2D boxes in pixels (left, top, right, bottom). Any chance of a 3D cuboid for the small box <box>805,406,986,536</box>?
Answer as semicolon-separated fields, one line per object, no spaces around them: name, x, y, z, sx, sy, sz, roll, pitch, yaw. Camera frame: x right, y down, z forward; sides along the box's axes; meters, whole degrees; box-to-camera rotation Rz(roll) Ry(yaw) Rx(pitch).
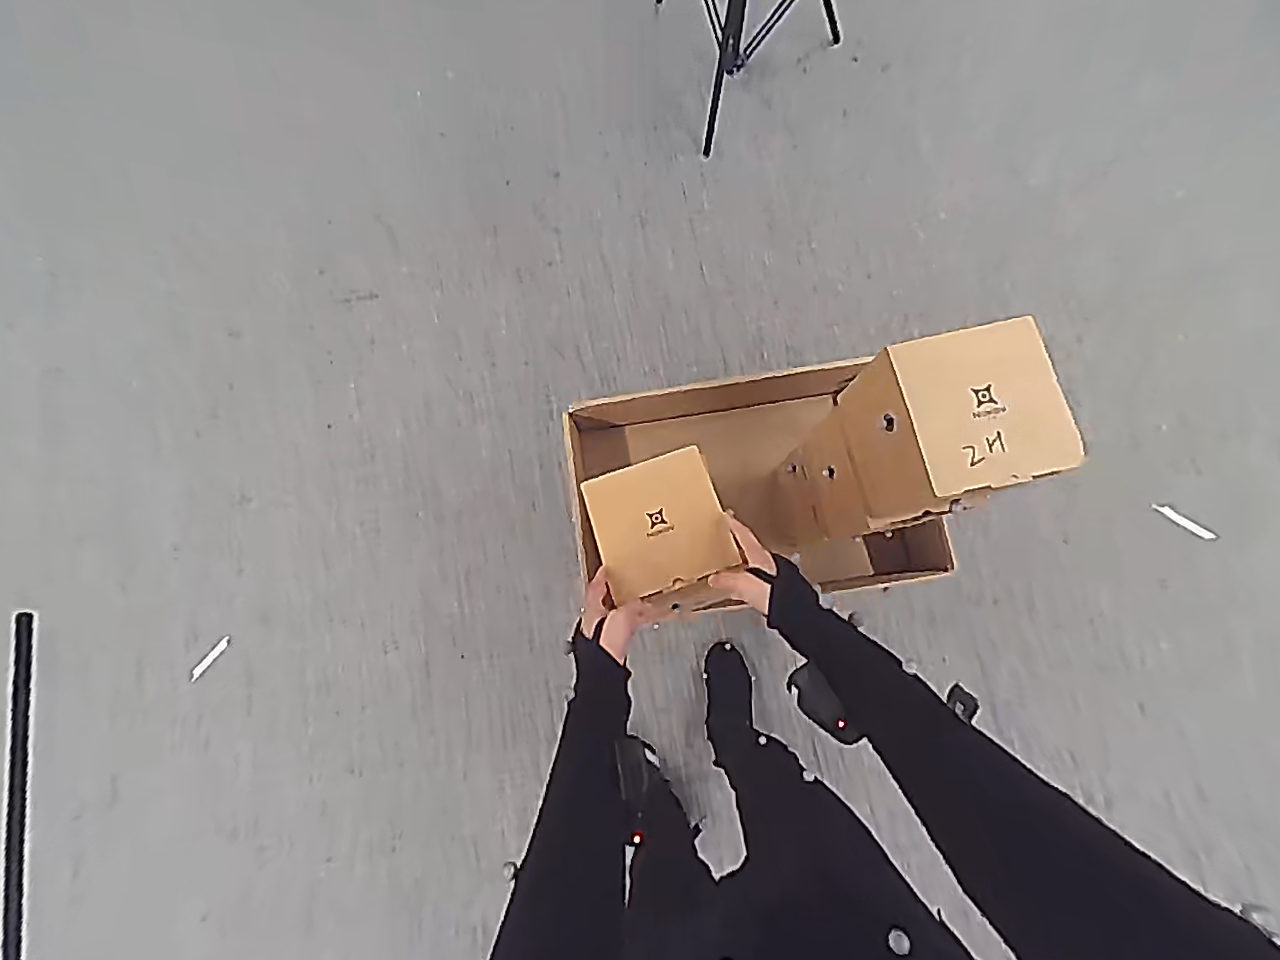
small box;0.364;-0.017;0.805;0.168;0.176;0.179;-12;79;-1

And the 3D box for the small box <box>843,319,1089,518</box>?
small box;0.365;-0.062;0.646;0.168;0.176;0.179;-12;80;-1

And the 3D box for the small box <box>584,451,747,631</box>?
small box;0.035;0.091;0.746;0.168;0.176;0.179;-19;66;-1
